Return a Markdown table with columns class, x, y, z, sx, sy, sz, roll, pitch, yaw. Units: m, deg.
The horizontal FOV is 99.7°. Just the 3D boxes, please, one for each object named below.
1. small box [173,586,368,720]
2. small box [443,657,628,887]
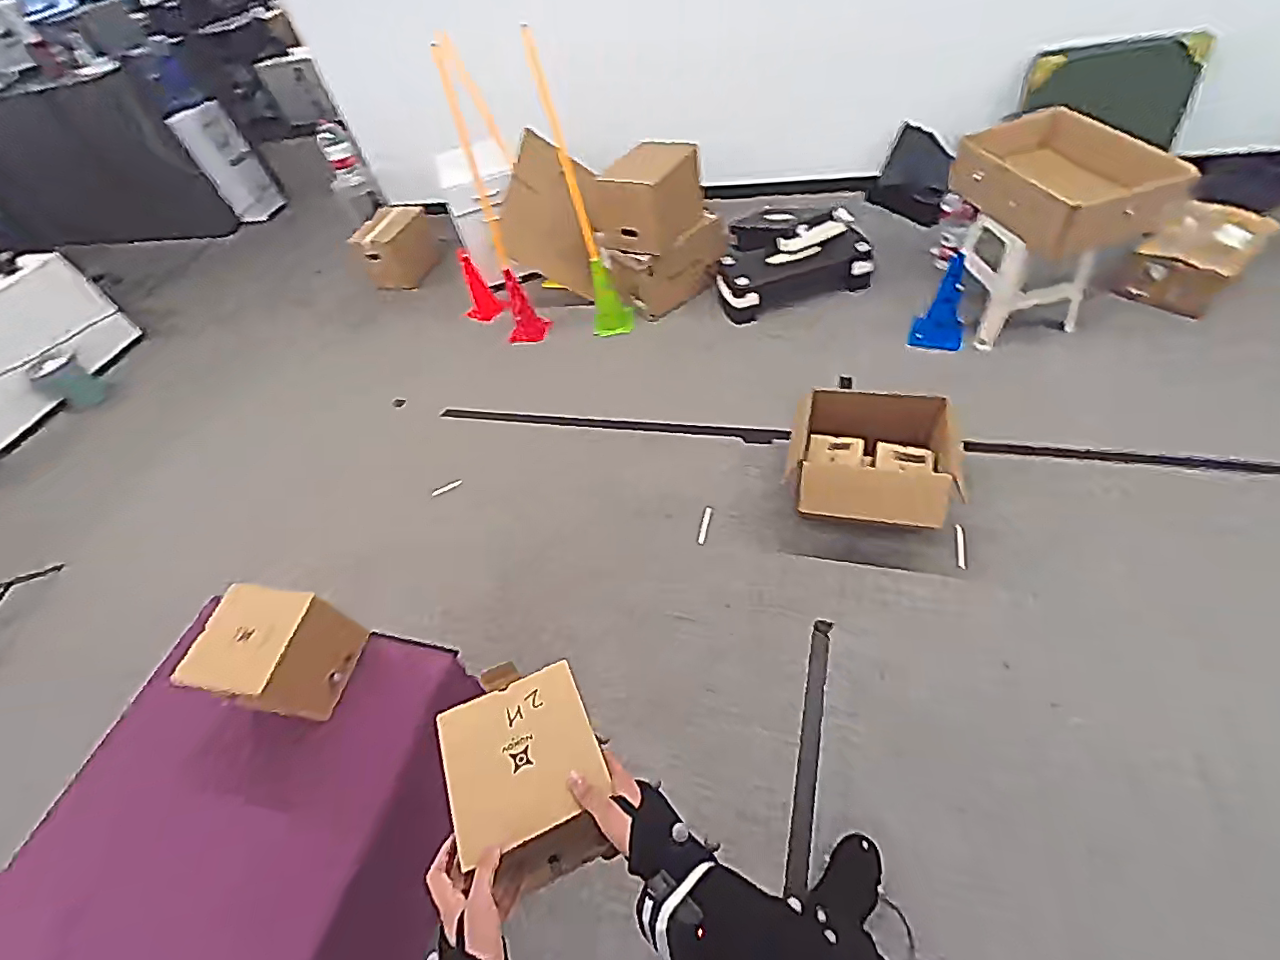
| class | x | y | z | sx | sy | sz | roll | pitch | yaw |
| --- | --- | --- | --- | --- | --- | --- | --- | --- | --- |
| small box | -0.615 | 0.297 | 0.924 | 0.179 | 0.176 | 0.168 | 2 | 55 | 15 |
| small box | -0.121 | 0.356 | 0.655 | 0.168 | 0.176 | 0.179 | -18 | 43 | -14 |
